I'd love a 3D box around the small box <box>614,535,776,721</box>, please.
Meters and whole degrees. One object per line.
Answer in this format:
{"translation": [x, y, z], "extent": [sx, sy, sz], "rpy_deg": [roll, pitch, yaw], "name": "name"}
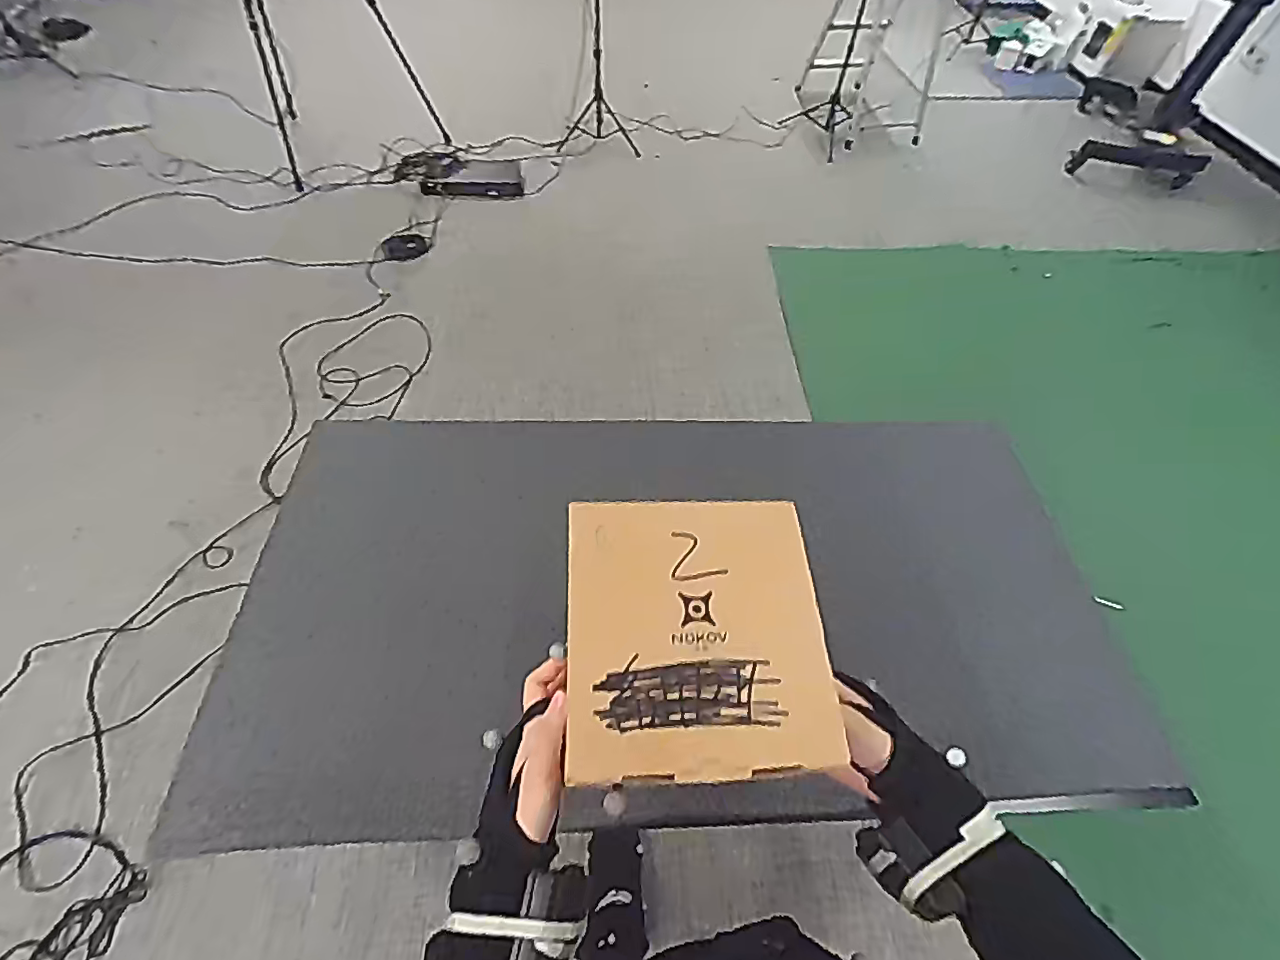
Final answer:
{"translation": [0.053, 0.184, 0.667], "extent": [0.168, 0.176, 0.179], "rpy_deg": [-2, 55, -4], "name": "small box"}
